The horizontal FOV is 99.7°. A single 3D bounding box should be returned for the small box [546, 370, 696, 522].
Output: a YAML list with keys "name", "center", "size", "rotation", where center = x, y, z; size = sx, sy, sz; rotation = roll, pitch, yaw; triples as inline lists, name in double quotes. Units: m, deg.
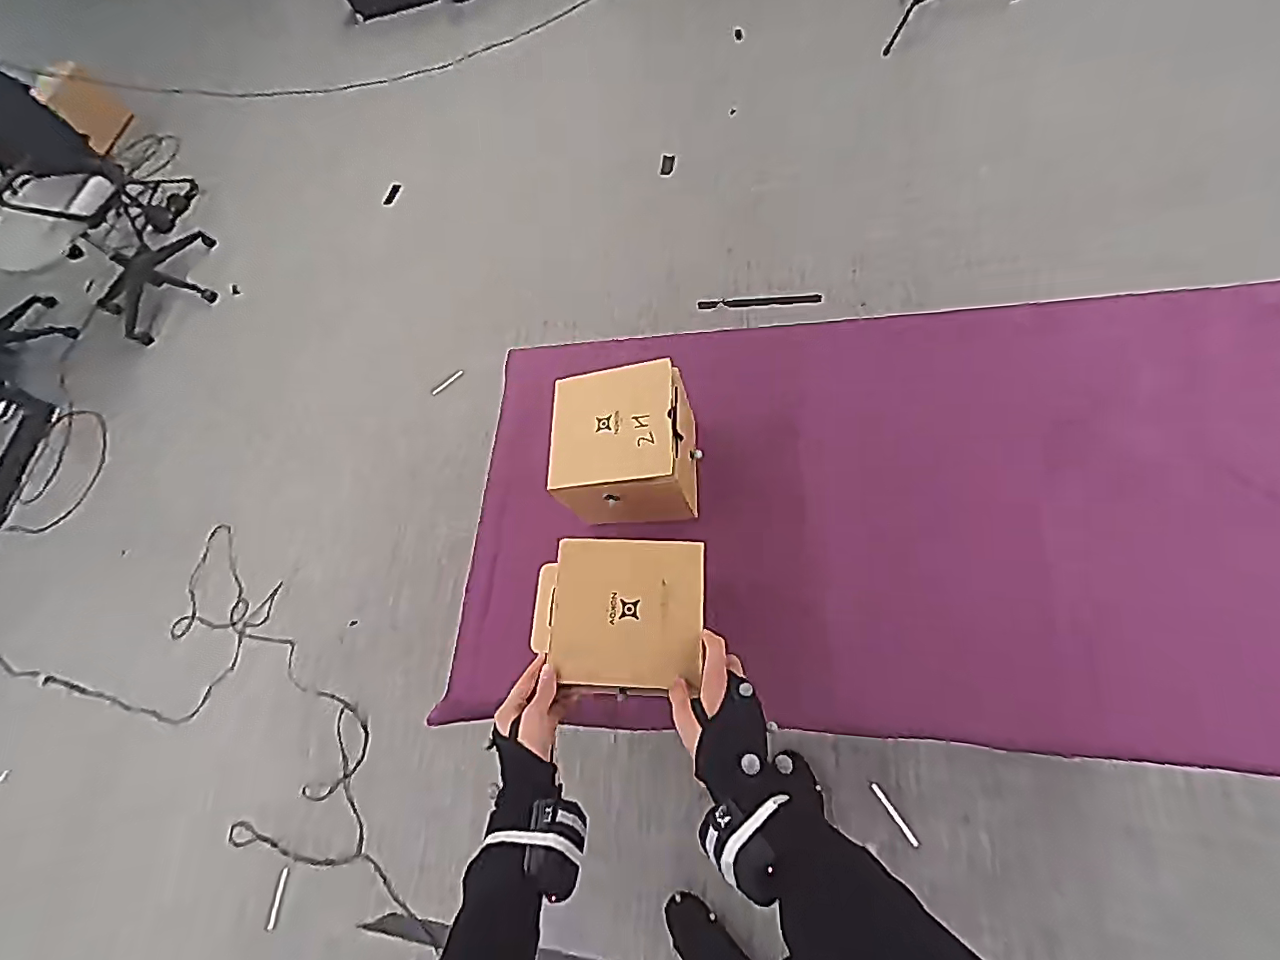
- name: "small box"
  center: [-0.017, -0.039, 0.783]
  size: [0.179, 0.176, 0.168]
  rotation: [-3, 69, 13]

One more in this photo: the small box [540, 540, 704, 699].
- name: "small box"
  center: [-0.010, 0.181, 0.681]
  size: [0.179, 0.176, 0.168]
  rotation: [1, 66, 7]
